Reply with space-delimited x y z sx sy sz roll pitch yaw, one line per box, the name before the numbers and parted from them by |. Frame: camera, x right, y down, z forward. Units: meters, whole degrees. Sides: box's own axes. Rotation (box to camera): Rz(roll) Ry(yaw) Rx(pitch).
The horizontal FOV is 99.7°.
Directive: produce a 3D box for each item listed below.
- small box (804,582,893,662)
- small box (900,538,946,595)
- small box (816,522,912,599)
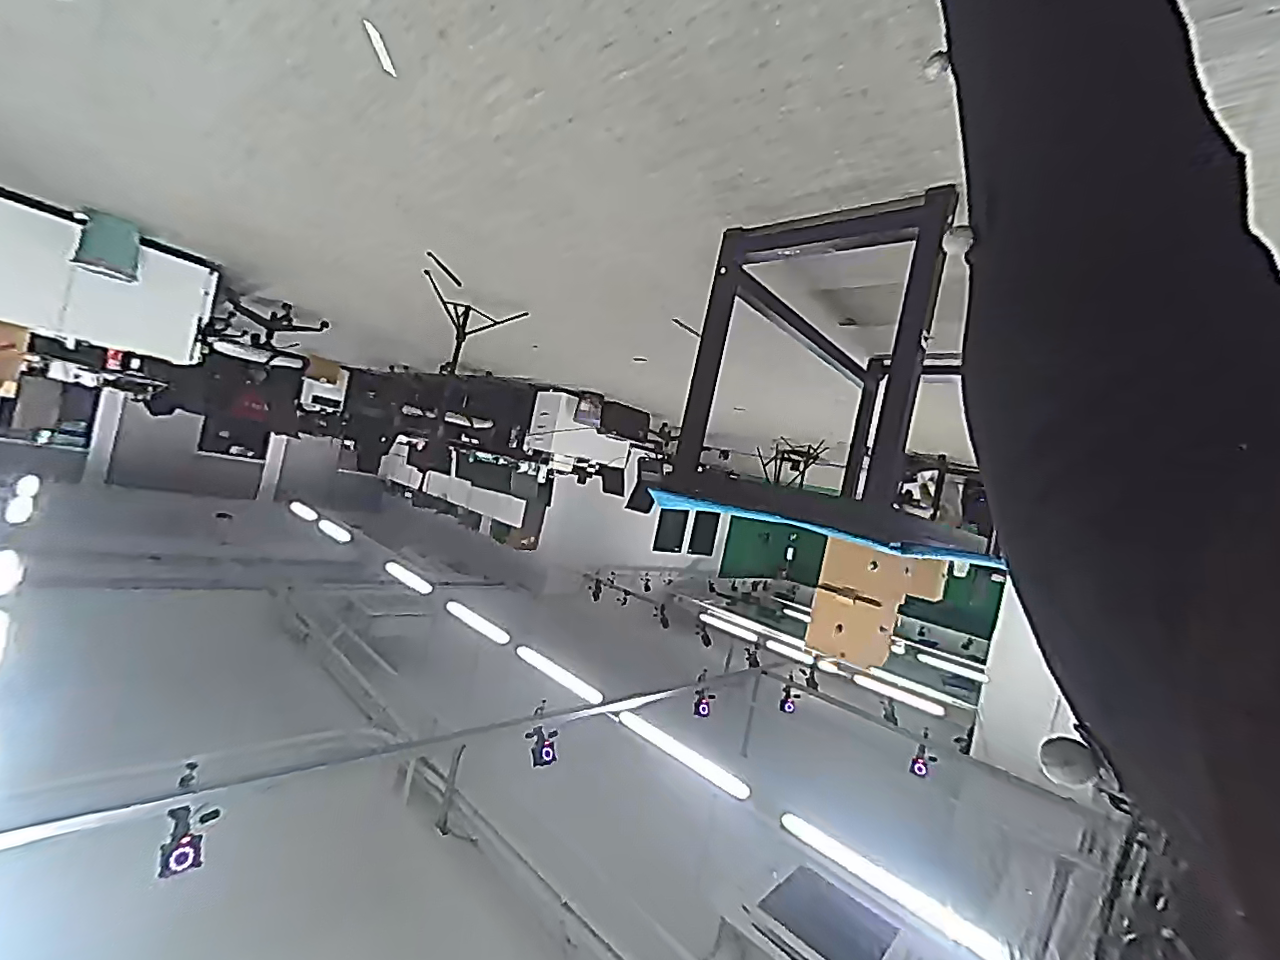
small box | 0.556 0.375 1.450 0.168 0.176 0.179 14 -176 41
small box | 0.898 0.283 1.806 0.179 0.176 0.168 11 178 38
small box | 0.598 0.216 1.450 0.179 0.176 0.168 12 180 43
